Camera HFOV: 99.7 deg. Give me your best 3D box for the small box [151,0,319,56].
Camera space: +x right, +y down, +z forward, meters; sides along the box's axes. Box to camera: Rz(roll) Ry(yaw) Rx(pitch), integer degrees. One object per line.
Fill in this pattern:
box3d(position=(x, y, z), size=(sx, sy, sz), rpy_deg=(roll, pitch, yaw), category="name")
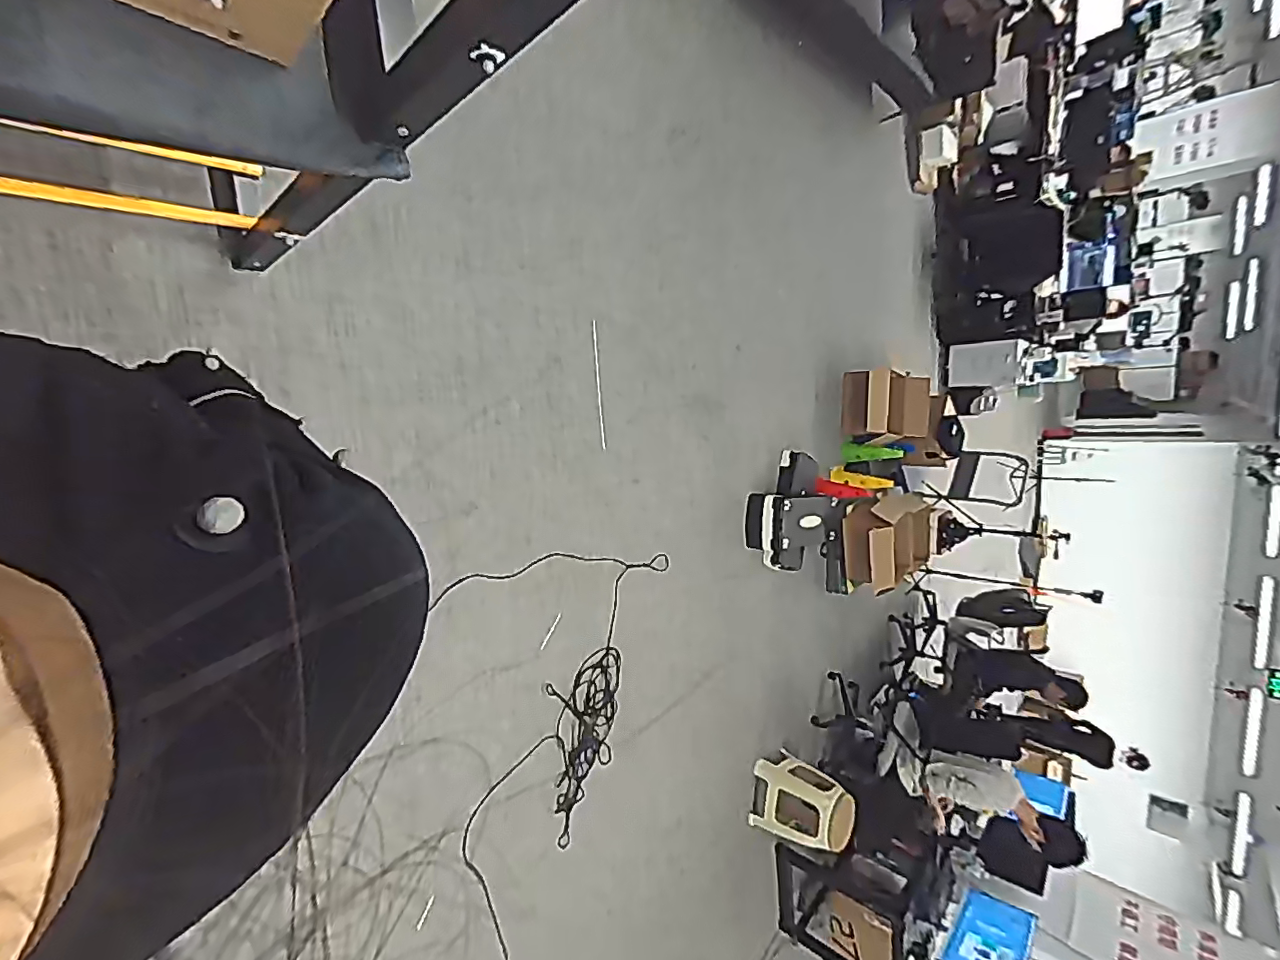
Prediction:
box3d(position=(-0.429, -0.584, 0.544), size=(0.168, 0.176, 0.179), rpy_deg=(-8, 98, -47), category="small box")
